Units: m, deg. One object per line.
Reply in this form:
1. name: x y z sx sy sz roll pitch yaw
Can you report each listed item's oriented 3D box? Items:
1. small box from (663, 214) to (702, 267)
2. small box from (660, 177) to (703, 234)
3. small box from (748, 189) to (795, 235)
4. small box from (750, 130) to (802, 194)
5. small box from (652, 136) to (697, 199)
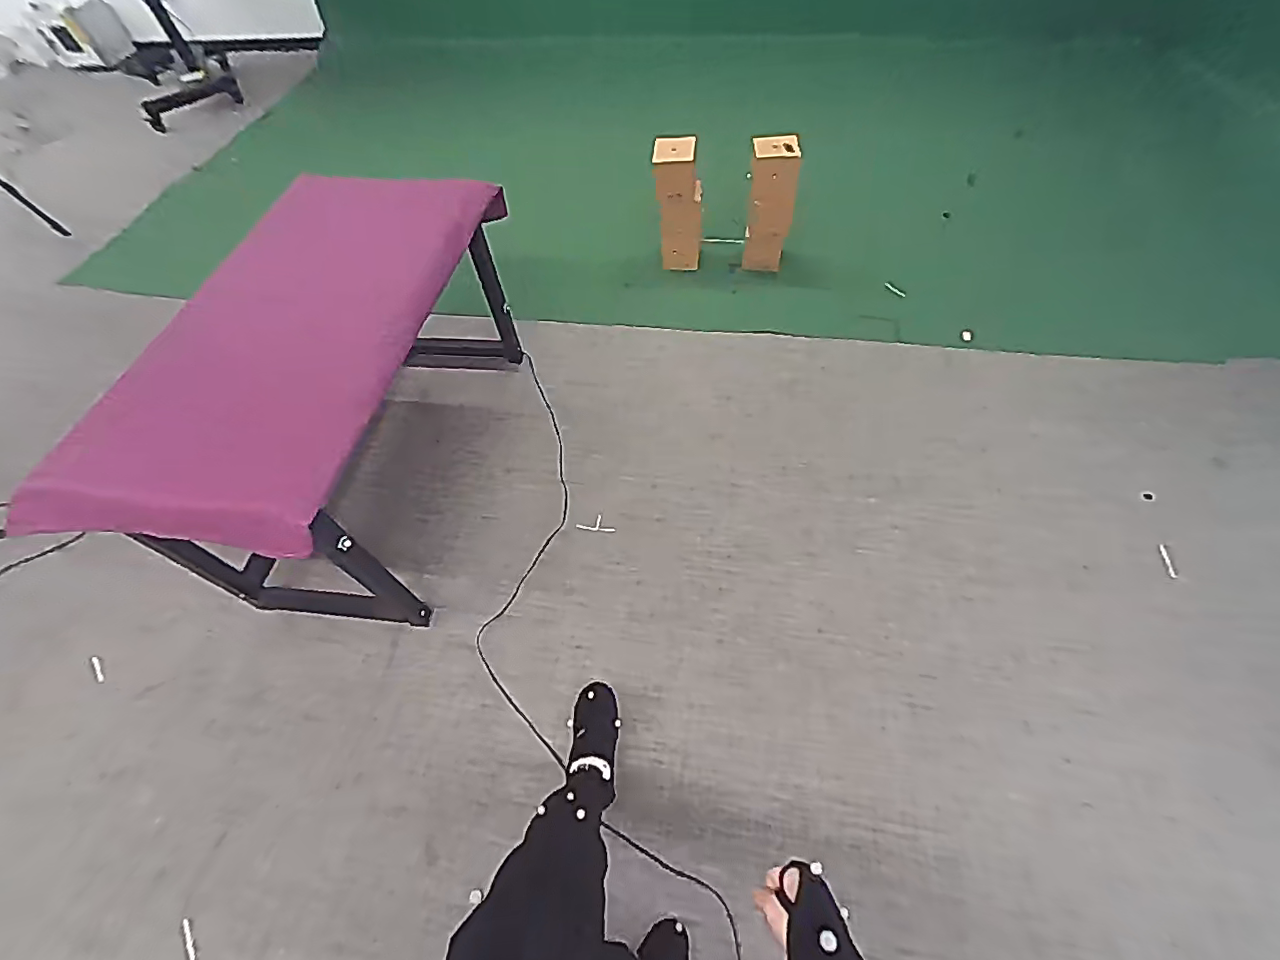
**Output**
1. small box: 0.200 -1.112 2.512 0.168 0.176 0.179 4 57 8
2. small box: 0.183 -1.204 2.377 0.179 0.176 0.168 2 56 6
3. small box: 0.561 -1.184 2.328 0.168 0.176 0.179 -3 57 4
4. small box: 0.548 -1.289 2.200 0.179 0.176 0.168 -1 57 5
5. small box: 0.147 -1.297 2.246 0.168 0.176 0.179 2 57 10
